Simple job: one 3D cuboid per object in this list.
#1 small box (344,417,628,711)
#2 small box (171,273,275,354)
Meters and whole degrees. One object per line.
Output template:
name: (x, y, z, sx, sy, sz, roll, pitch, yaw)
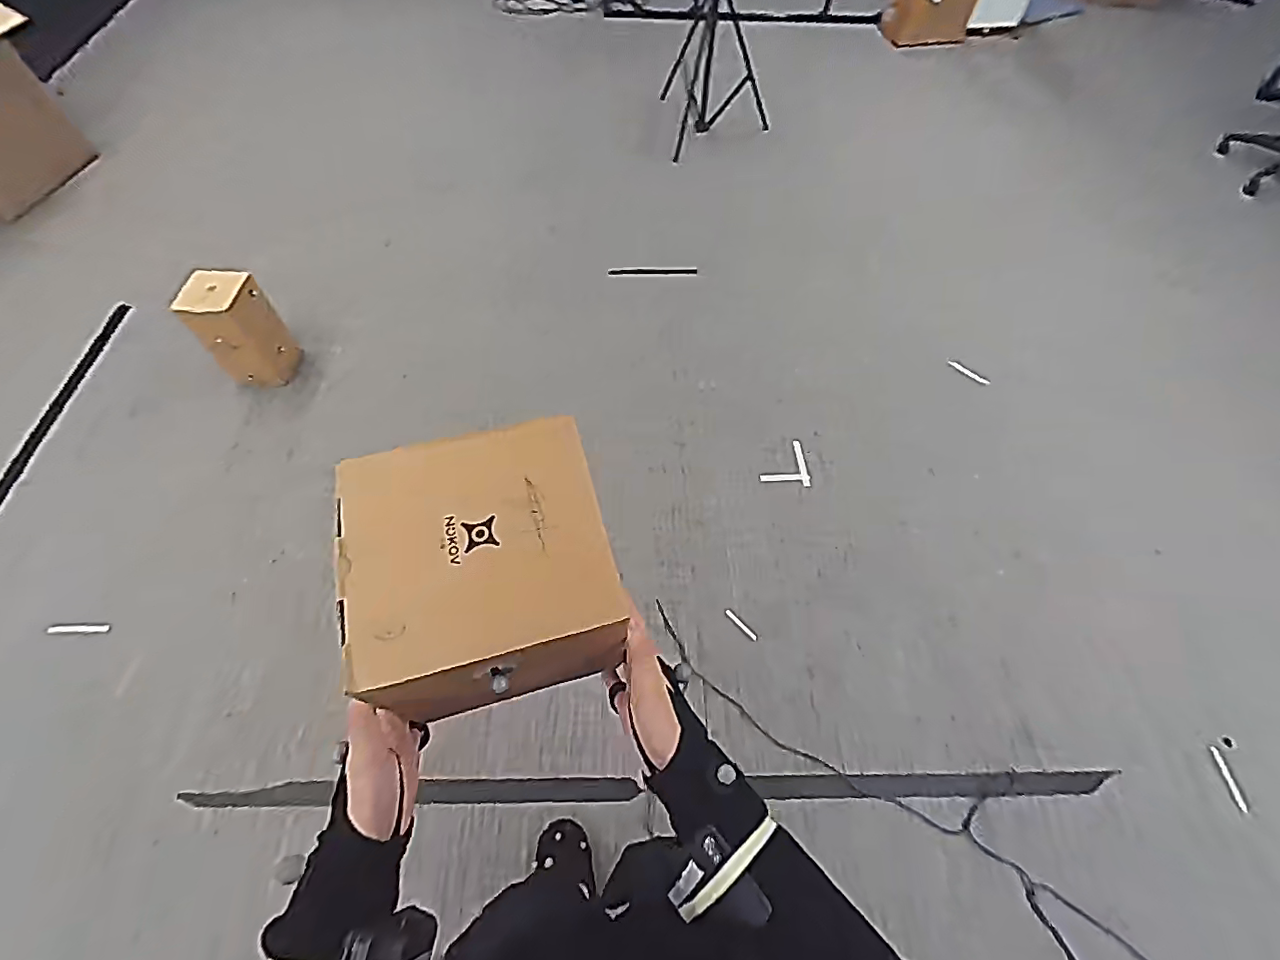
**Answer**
small box: (-0.115, 0.076, 0.439, 0.179, 0.176, 0.168, -12, 63, -12)
small box: (-1.283, -0.516, 1.682, 0.168, 0.176, 0.179, 2, 60, 0)
